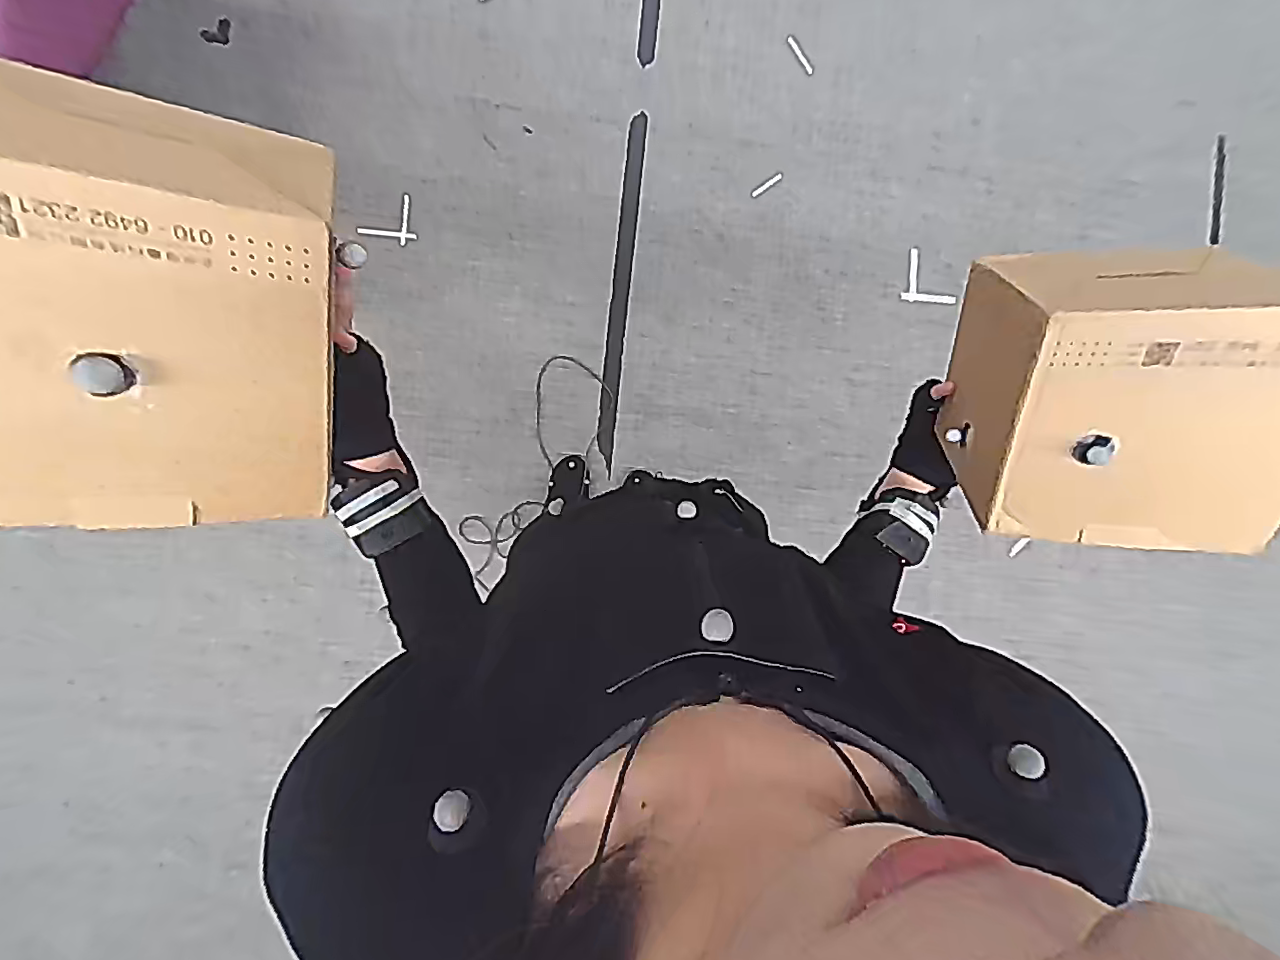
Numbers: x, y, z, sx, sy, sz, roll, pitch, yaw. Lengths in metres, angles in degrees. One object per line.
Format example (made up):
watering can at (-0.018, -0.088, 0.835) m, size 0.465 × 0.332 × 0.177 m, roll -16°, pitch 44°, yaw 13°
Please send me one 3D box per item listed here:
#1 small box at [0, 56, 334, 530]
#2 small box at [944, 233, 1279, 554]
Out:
small box at (-0.253, -0.094, 0.275) m, size 0.168 × 0.179 × 0.176 m, roll 1°, pitch 127°, yaw -30°
small box at (0.344, -0.071, 0.390) m, size 0.168 × 0.179 × 0.176 m, roll 4°, pitch 123°, yaw 14°
